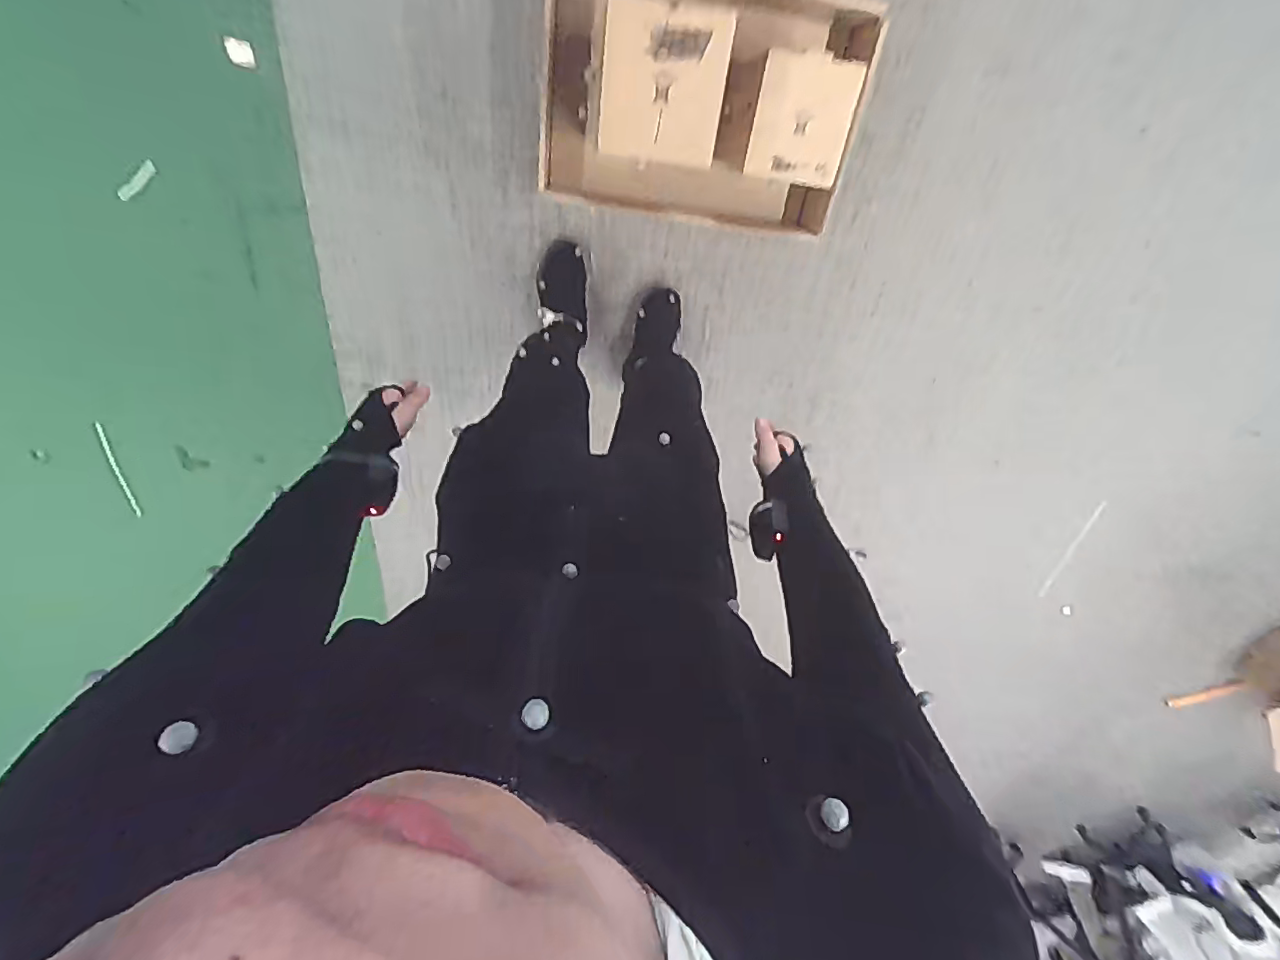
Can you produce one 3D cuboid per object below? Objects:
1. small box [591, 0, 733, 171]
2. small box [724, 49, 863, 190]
[{"bbox_3d":[0.018,-0.562,0.780,0.168,0.176,0.179,3,123,-9],"label":"small box"},{"bbox_3d":[0.258,-0.630,0.959,0.168,0.176,0.179,5,122,-8],"label":"small box"}]
